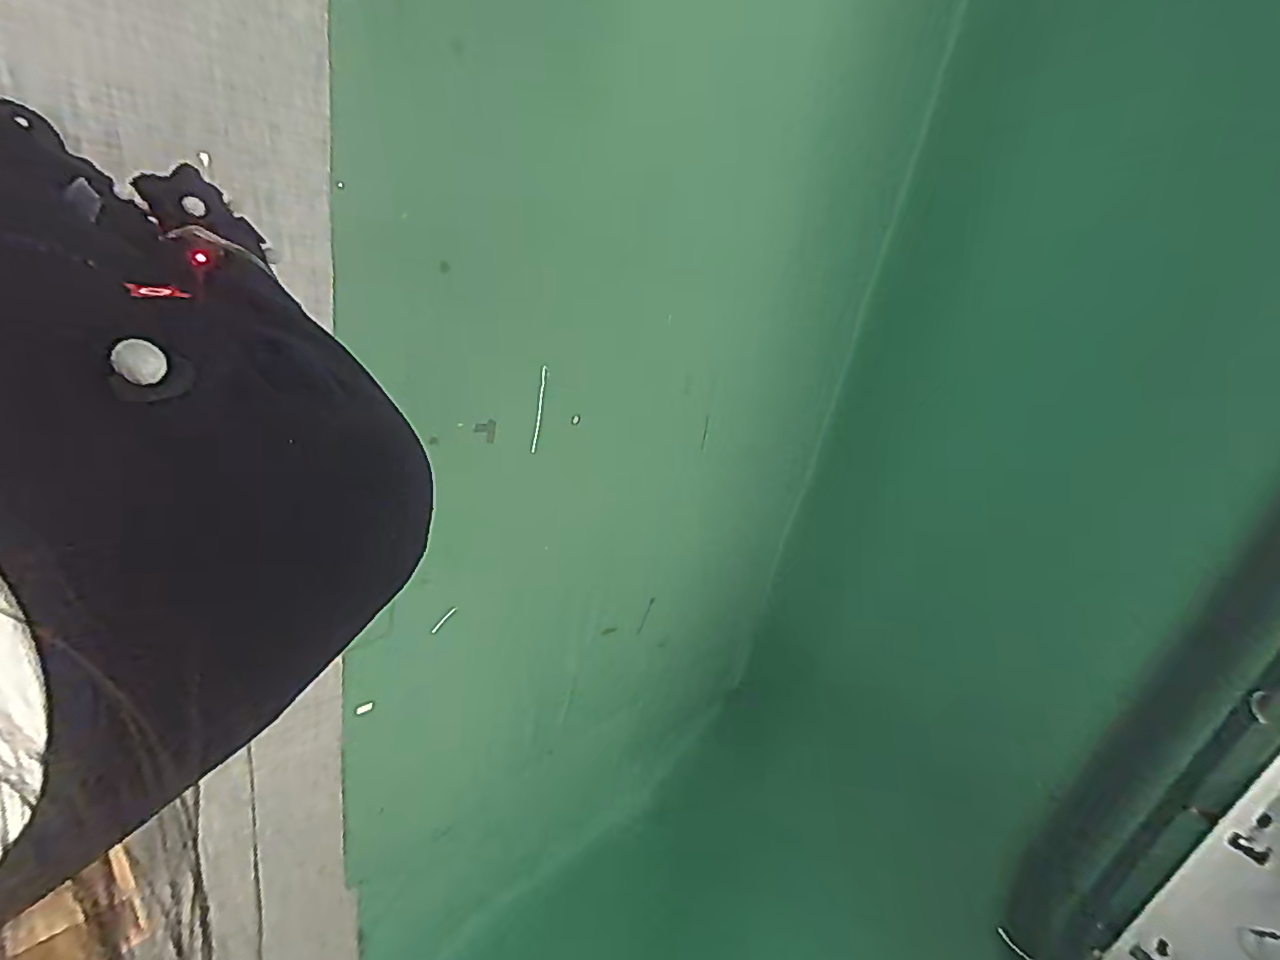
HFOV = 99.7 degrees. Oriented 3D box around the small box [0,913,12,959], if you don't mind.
[{"bbox_3d":[-1.474,1.028,1.137,0.179,0.176,0.168,-17,126,-44],"label":"small box"}]
